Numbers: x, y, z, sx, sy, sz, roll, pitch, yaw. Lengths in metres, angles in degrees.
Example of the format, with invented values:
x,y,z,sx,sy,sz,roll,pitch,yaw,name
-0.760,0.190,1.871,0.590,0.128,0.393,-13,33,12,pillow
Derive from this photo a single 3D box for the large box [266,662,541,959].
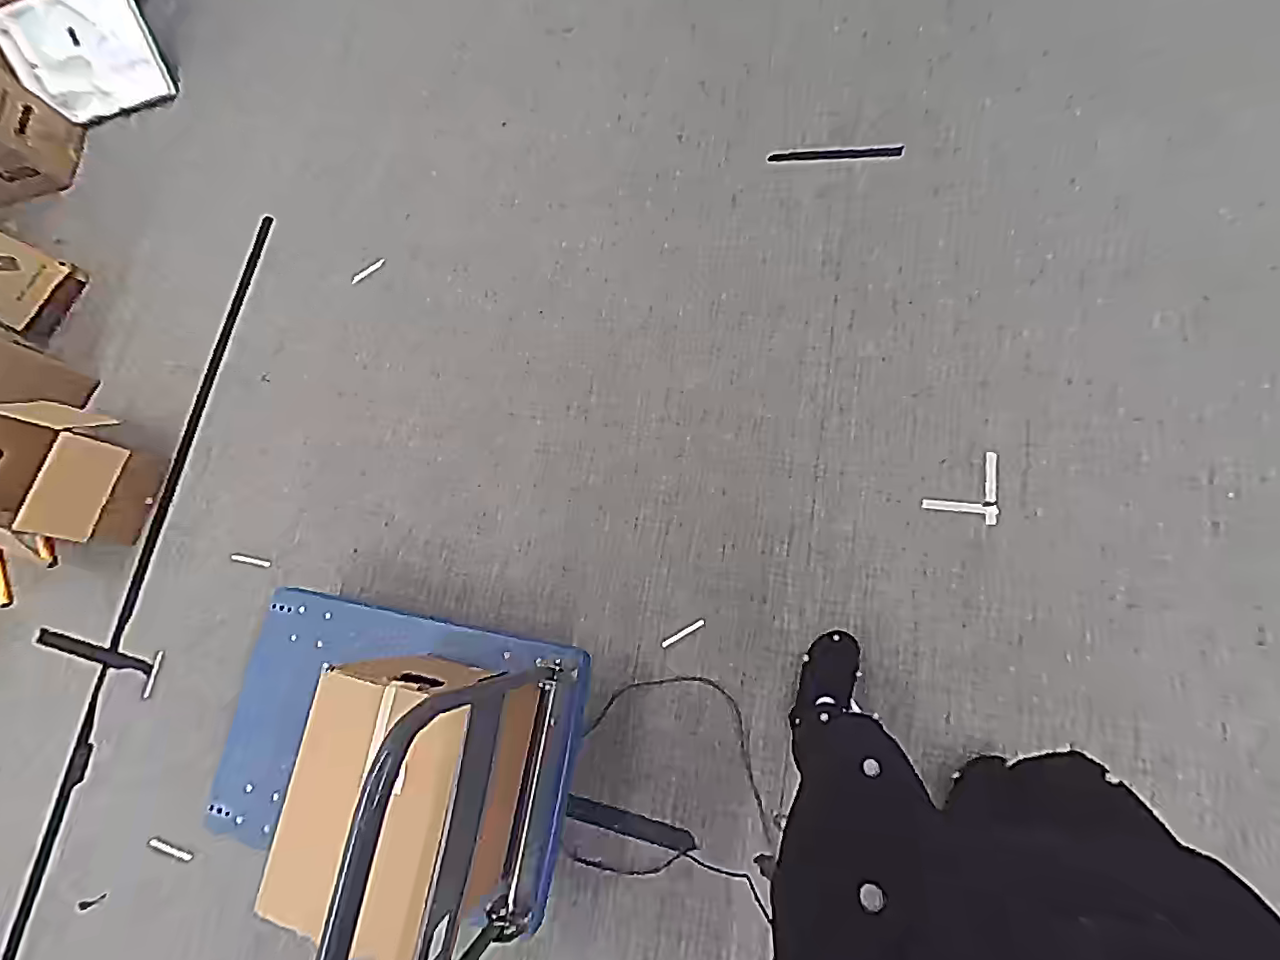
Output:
x,y,z,sx,sy,sz,roll,pitch,yaw,name
-0.427,0.600,1.062,0.320,0.320,0.408,7,77,14,large box
